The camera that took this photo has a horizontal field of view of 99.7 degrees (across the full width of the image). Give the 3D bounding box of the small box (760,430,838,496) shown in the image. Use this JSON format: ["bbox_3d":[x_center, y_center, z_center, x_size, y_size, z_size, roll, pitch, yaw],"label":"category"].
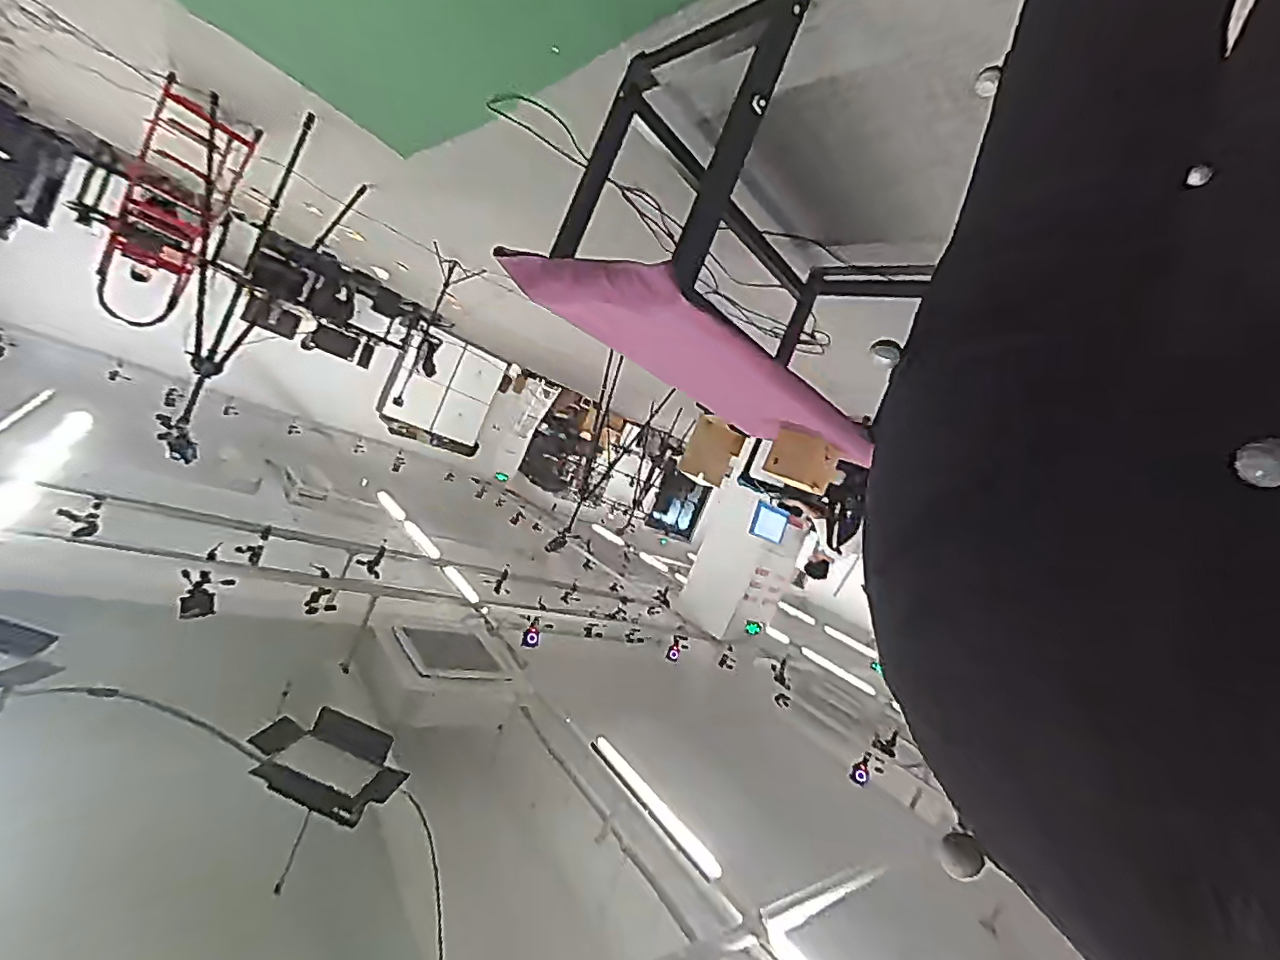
[{"bbox_3d":[0.565,-0.067,1.914,0.168,0.176,0.179,23,180,-43],"label":"small box"}]
